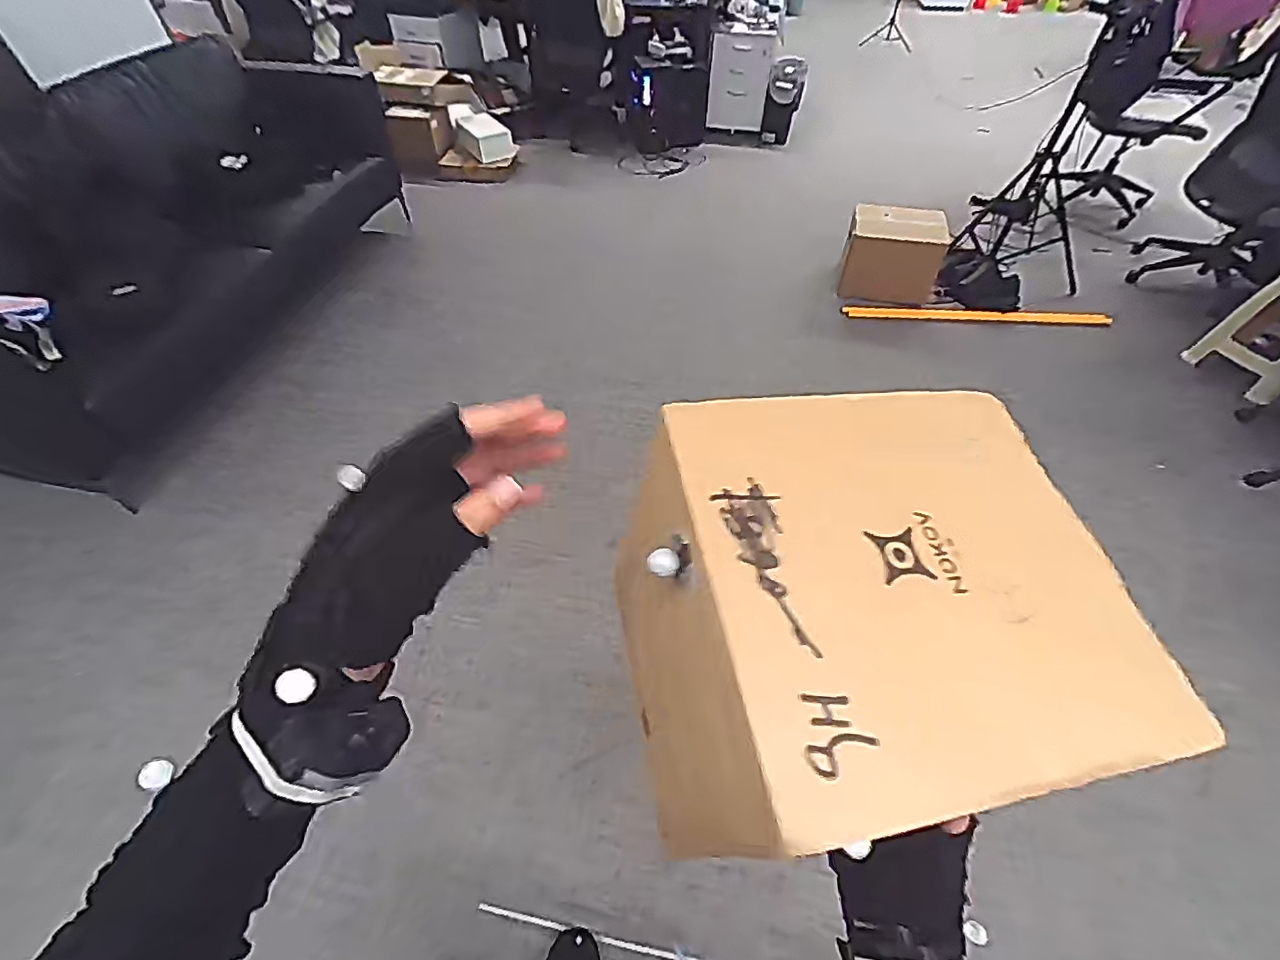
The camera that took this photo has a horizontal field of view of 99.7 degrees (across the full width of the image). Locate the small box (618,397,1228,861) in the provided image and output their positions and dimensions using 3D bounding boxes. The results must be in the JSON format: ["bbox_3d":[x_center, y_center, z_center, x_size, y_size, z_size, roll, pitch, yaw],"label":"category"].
[{"bbox_3d":[0.096,0.076,0.275,0.179,0.176,0.168,-2,56,-15],"label":"small box"}]
